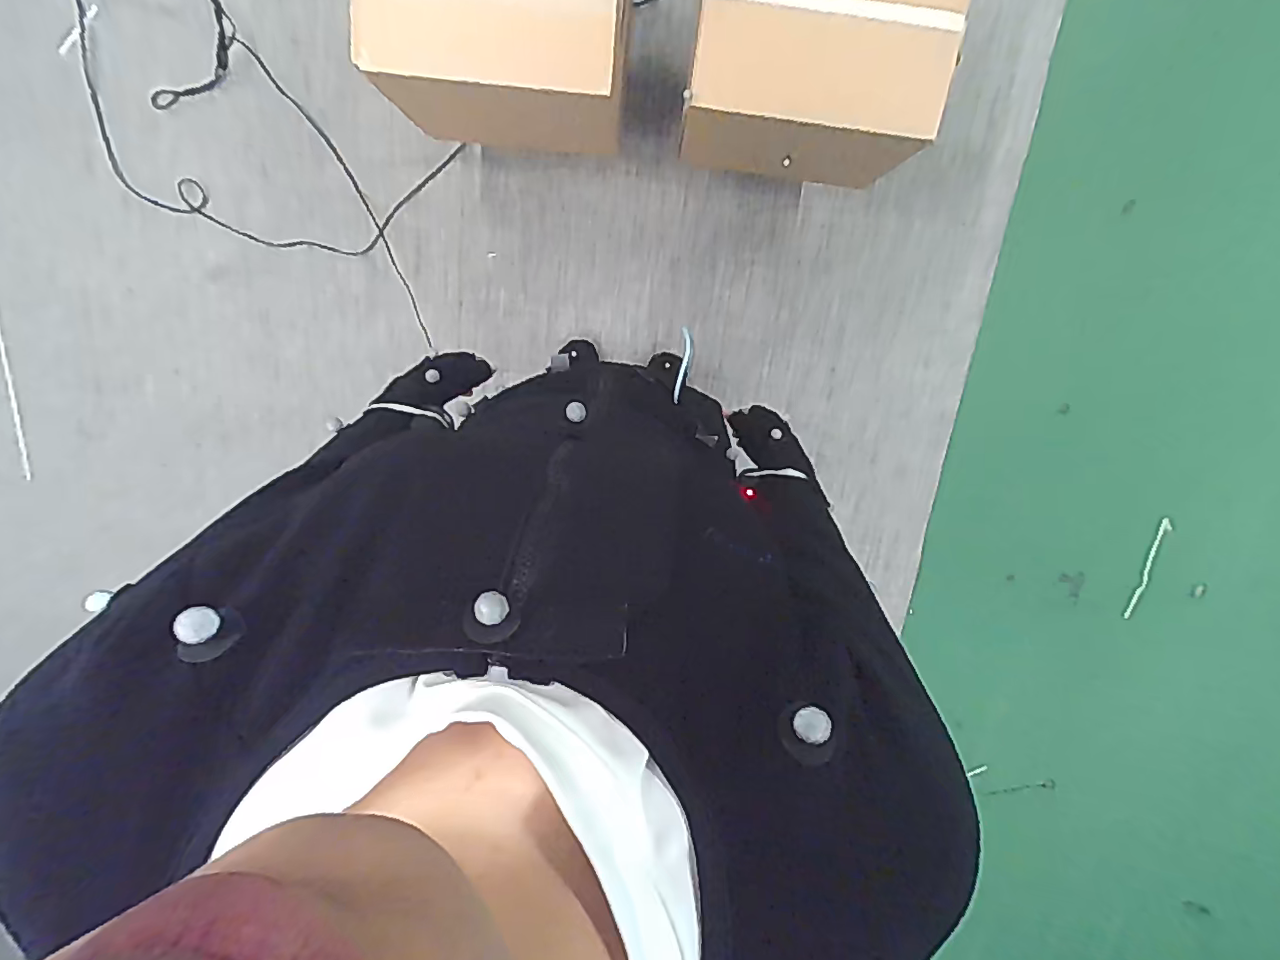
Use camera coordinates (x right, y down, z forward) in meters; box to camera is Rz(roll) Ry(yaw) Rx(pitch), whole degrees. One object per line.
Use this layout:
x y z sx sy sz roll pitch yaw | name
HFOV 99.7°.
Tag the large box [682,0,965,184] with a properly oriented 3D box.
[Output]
0.304 -0.764 0.984 0.408 0.320 0.320 8 105 -1 | large box
